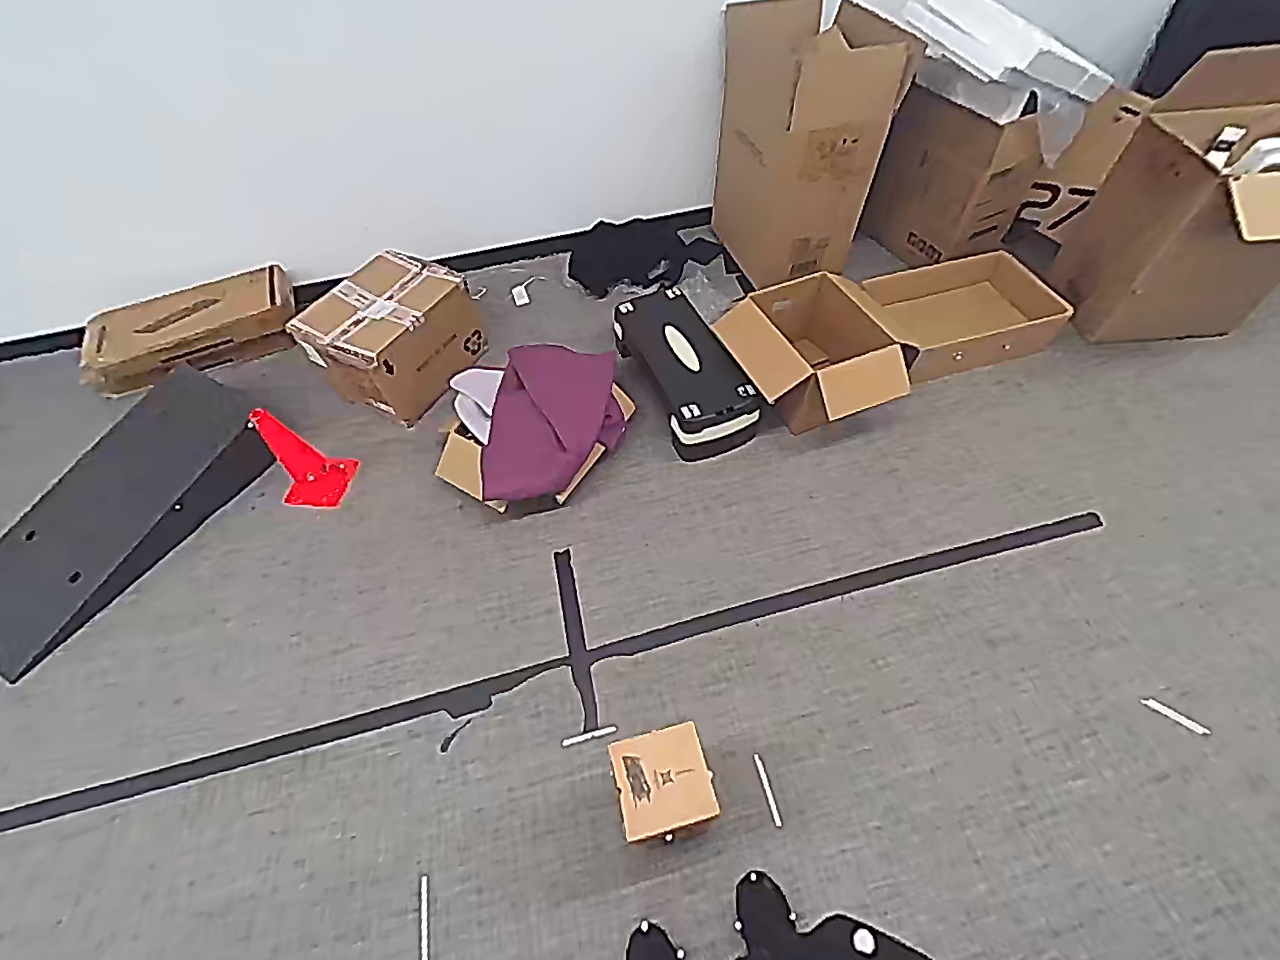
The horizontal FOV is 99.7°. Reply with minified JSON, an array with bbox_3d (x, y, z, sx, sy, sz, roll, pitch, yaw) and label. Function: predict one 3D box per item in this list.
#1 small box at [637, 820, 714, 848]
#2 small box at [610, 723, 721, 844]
[{"bbox_3d":[0.062,0.699,1.207,0.168,0.176,0.179,-12,56,-5],"label":"small box"},{"bbox_3d":[0.049,0.605,1.071,0.179,0.176,0.168,-13,56,-6],"label":"small box"}]
